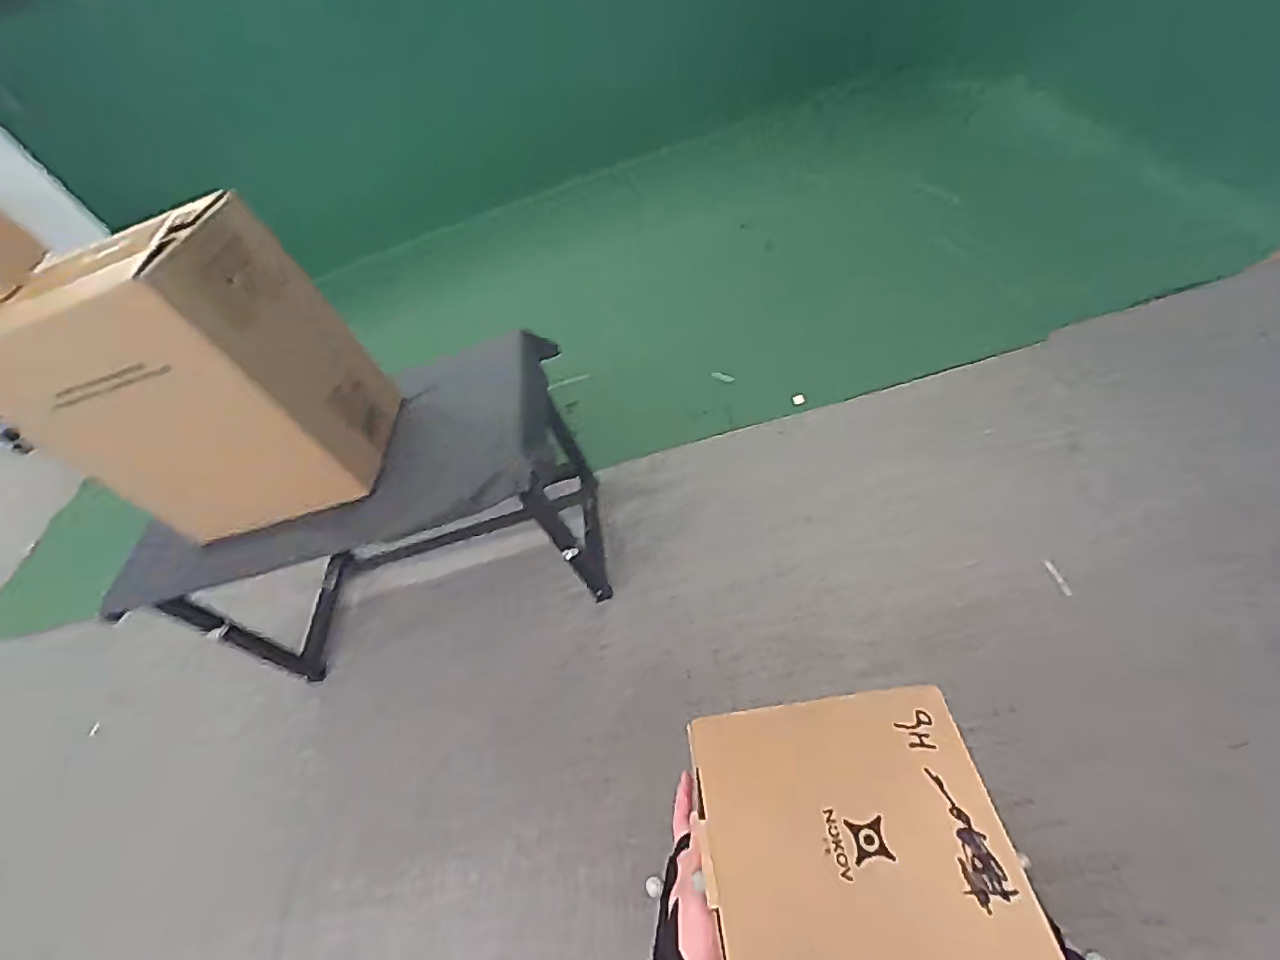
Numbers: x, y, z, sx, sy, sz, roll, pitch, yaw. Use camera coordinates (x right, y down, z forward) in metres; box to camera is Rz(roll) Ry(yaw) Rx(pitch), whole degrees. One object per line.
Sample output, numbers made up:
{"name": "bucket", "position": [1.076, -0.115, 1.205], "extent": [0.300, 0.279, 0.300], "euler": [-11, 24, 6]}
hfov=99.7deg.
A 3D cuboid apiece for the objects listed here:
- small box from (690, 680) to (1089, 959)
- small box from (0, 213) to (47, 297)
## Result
{"name": "small box", "position": [0.138, 0.260, 0.364], "extent": [0.179, 0.176, 0.168], "euler": [-10, 46, 1]}
{"name": "small box", "position": [-1.320, -0.443, 1.032], "extent": [0.168, 0.176, 0.179], "euler": [-16, 50, 6]}
